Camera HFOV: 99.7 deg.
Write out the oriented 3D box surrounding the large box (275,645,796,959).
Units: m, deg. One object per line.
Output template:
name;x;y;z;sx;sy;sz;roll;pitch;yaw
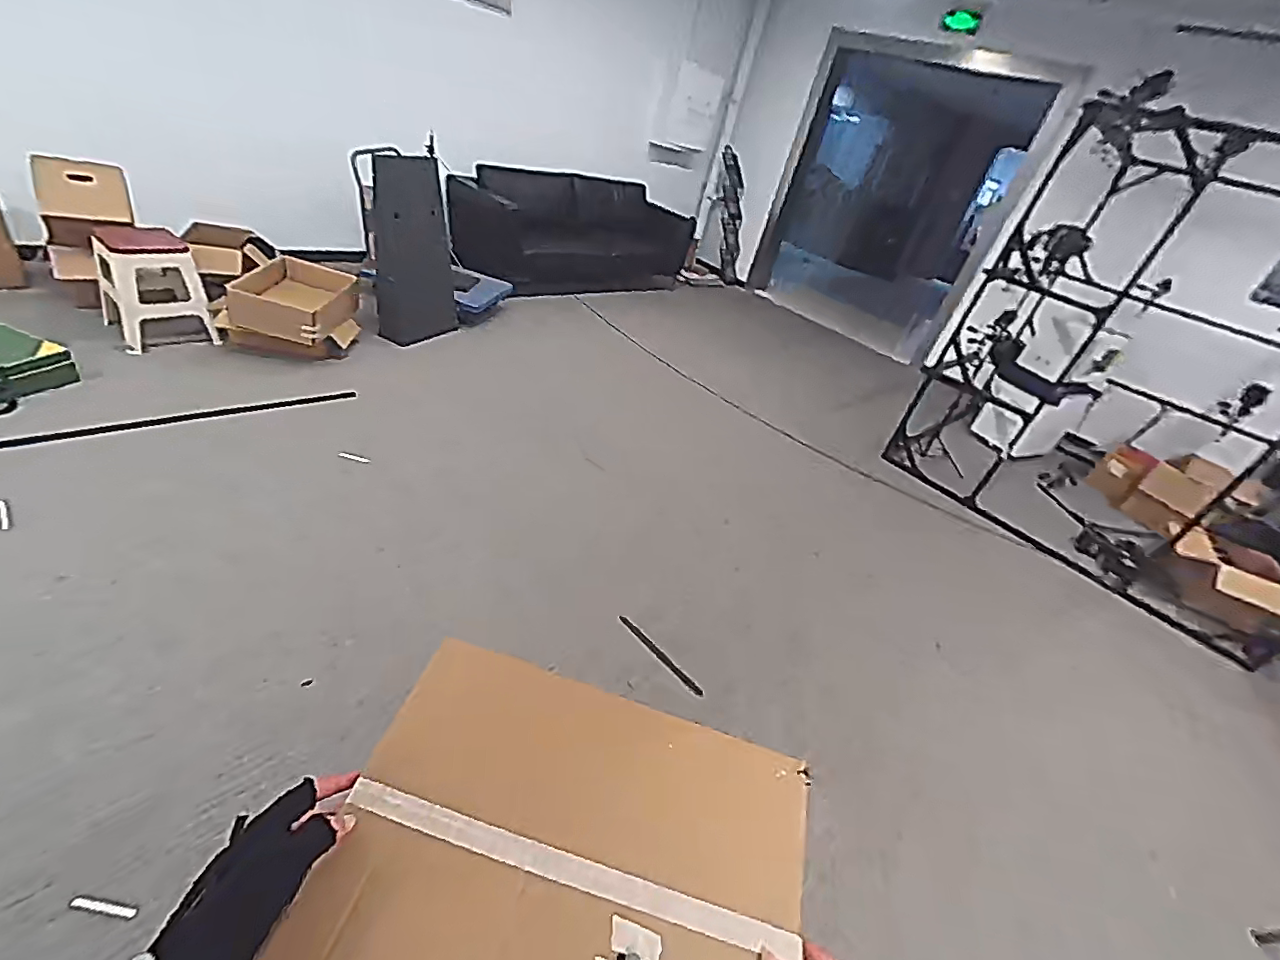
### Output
large box;-0.086;0.441;0.584;0.408;0.320;0.320;18;45;3
